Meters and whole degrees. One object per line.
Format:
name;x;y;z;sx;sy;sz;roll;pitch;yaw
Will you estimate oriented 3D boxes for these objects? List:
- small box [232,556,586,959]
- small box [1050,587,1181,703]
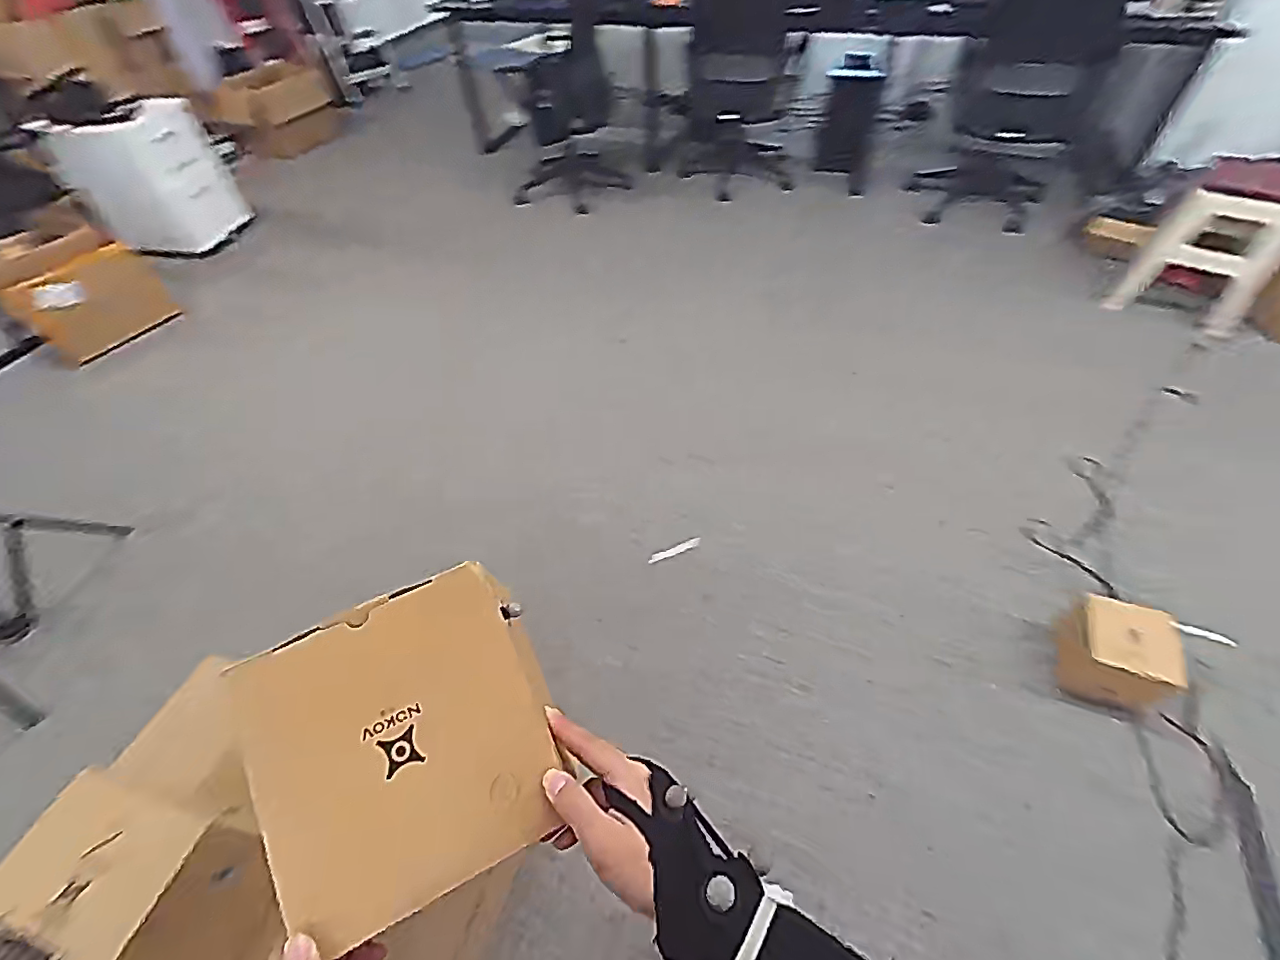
small box;-0.145;0.178;0.397;0.168;0.176;0.179;-23;75;-13
small box;1.082;0.382;1.250;0.168;0.176;0.179;14;53;17
